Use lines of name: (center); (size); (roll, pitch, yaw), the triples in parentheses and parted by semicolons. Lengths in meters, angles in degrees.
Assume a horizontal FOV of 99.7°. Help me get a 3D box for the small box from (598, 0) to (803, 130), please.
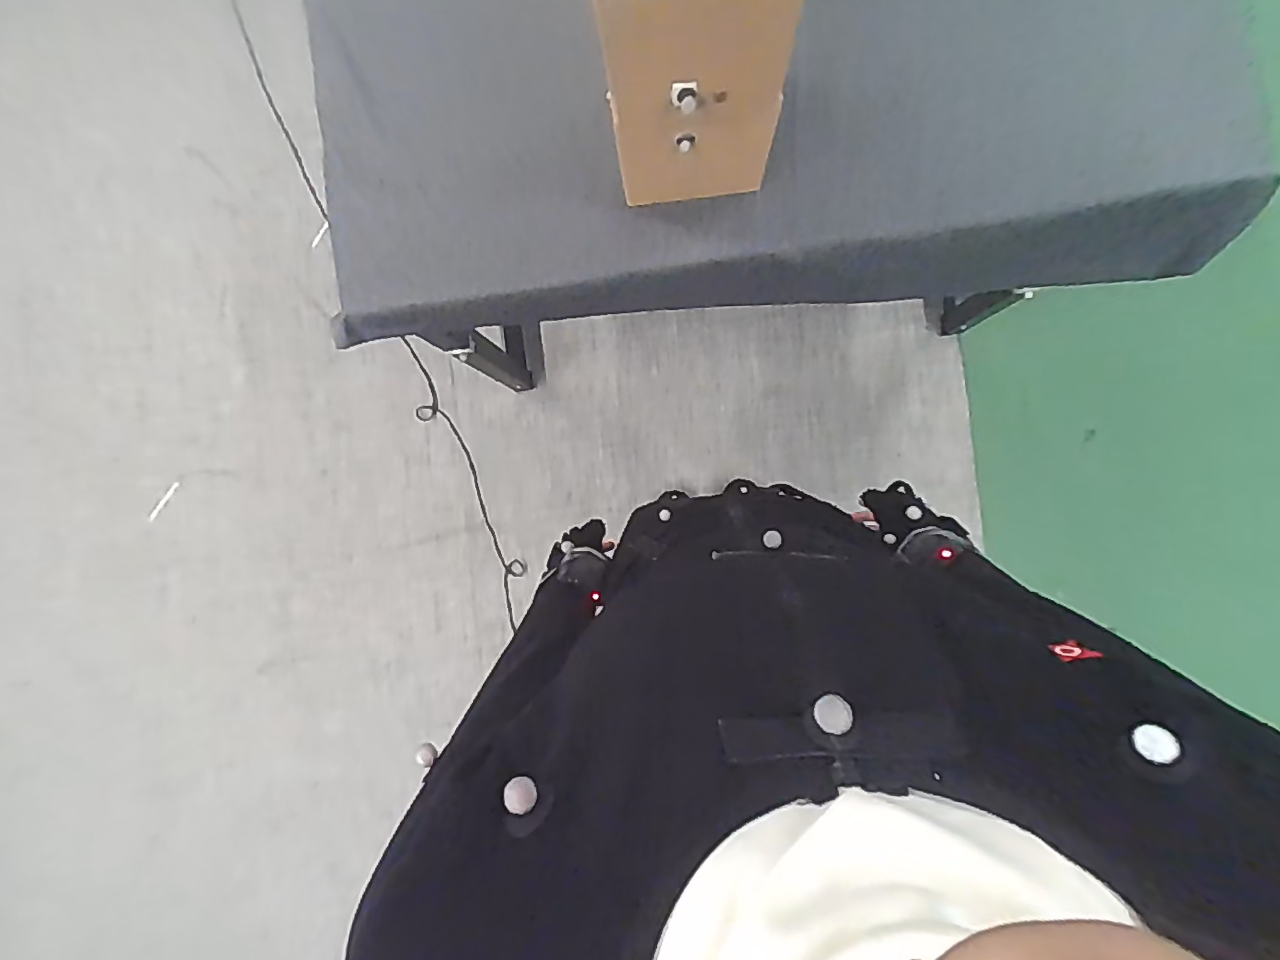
small box: (0.046, -0.457, 0.479); (0.168, 0.176, 0.179); (-6, 90, 7)

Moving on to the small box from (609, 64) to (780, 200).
small box: (0.060, -0.456, 0.640); (0.179, 0.176, 0.168); (-4, 89, 4)
